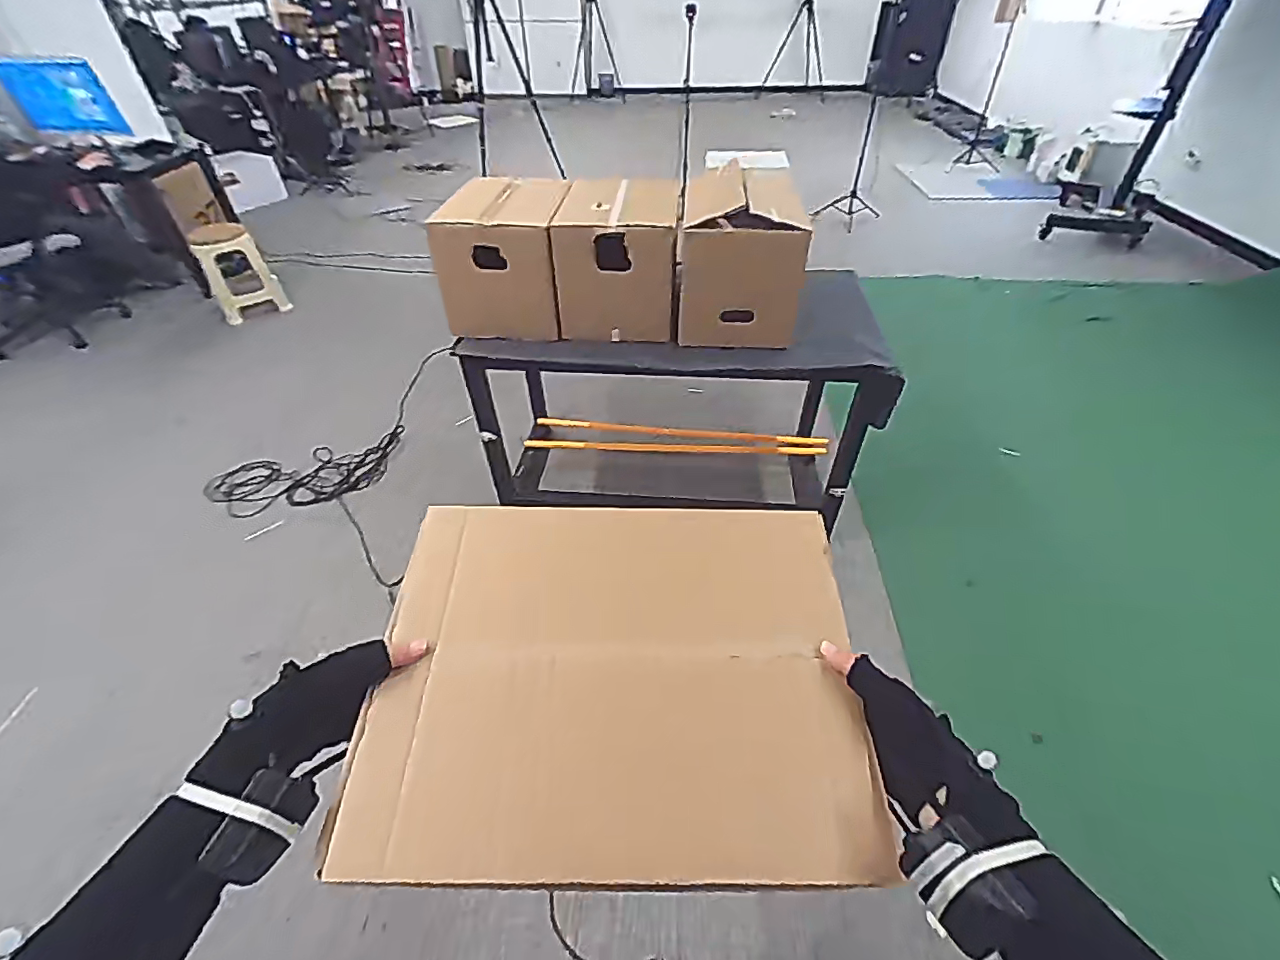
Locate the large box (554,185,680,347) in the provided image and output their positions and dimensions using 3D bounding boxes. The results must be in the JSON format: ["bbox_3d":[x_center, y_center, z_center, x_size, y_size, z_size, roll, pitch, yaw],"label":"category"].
[{"bbox_3d":[-0.048,-0.623,1.559,0.320,0.320,0.408,2,44,4],"label":"large box"}]
